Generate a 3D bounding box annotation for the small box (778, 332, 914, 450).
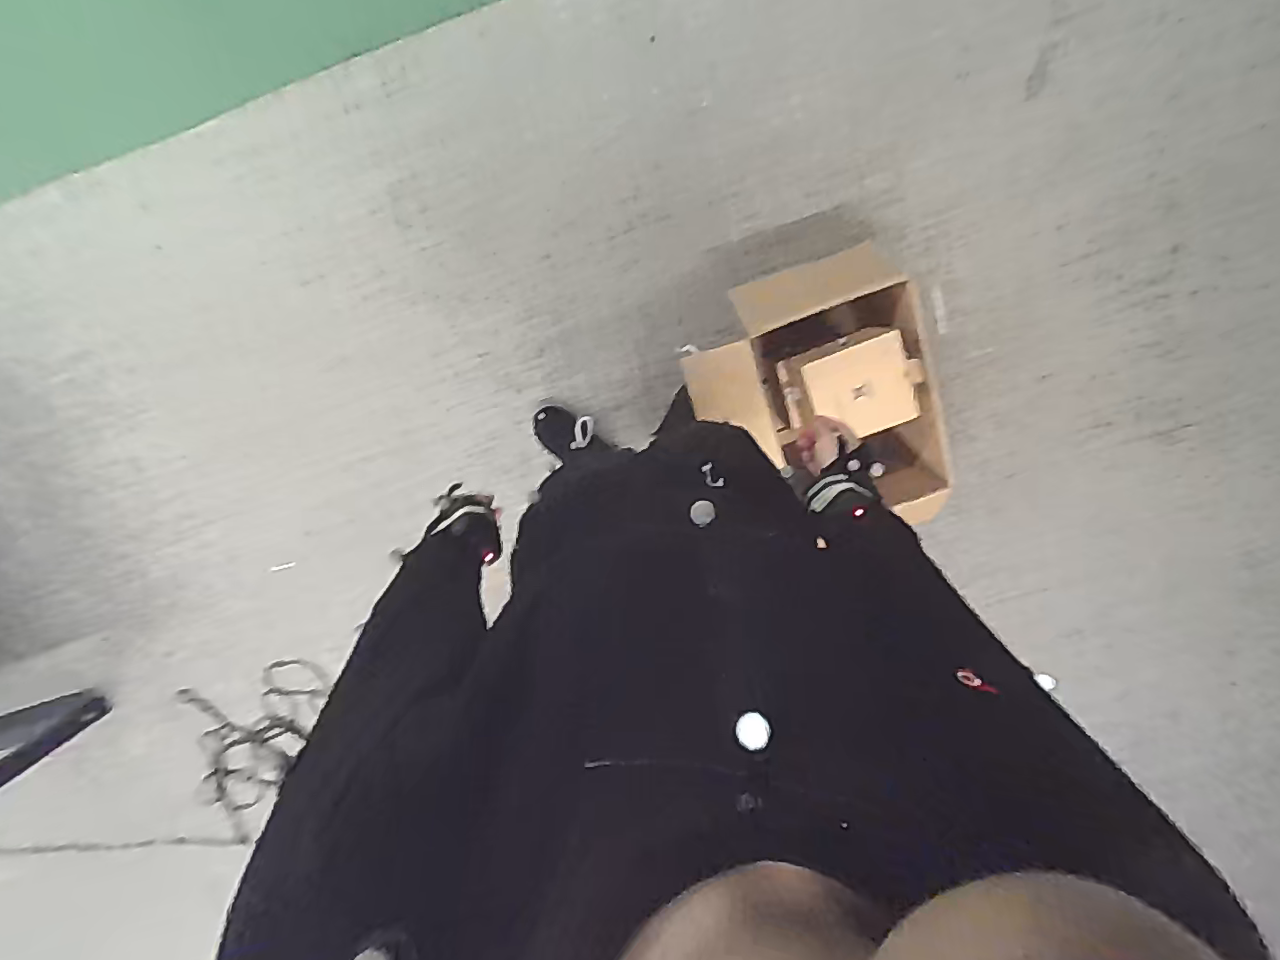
[{"bbox_3d":[0.387,-0.179,1.038,0.179,0.176,0.168,-20,104,7],"label":"small box"}]
